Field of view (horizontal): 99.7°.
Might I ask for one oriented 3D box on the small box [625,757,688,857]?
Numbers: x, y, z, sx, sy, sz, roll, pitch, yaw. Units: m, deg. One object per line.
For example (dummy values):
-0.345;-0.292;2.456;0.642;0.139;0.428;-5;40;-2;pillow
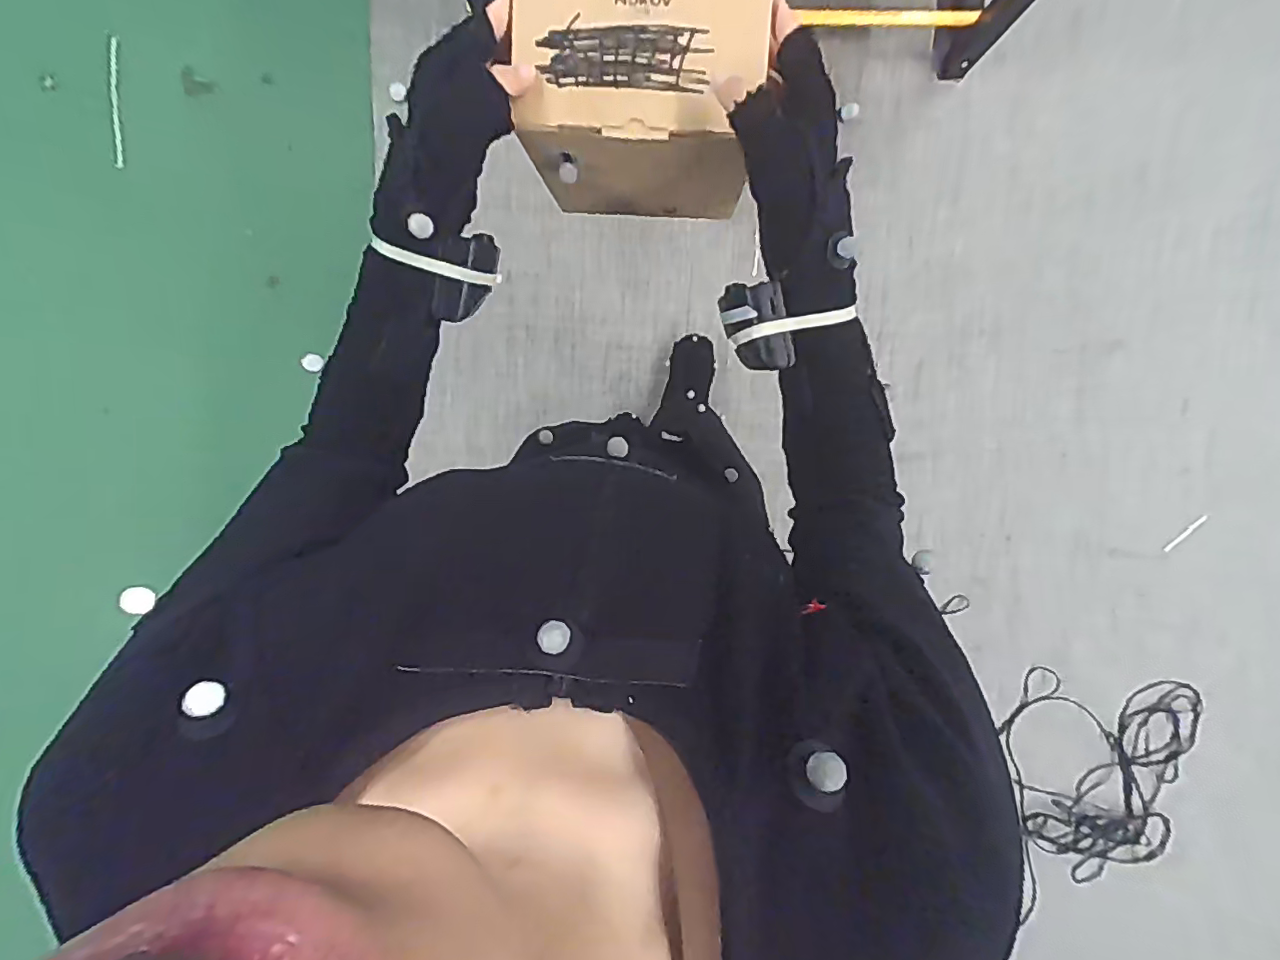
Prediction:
0.044;0.896;1.491;0.168;0.176;0.179;-1;95;-1;small box
